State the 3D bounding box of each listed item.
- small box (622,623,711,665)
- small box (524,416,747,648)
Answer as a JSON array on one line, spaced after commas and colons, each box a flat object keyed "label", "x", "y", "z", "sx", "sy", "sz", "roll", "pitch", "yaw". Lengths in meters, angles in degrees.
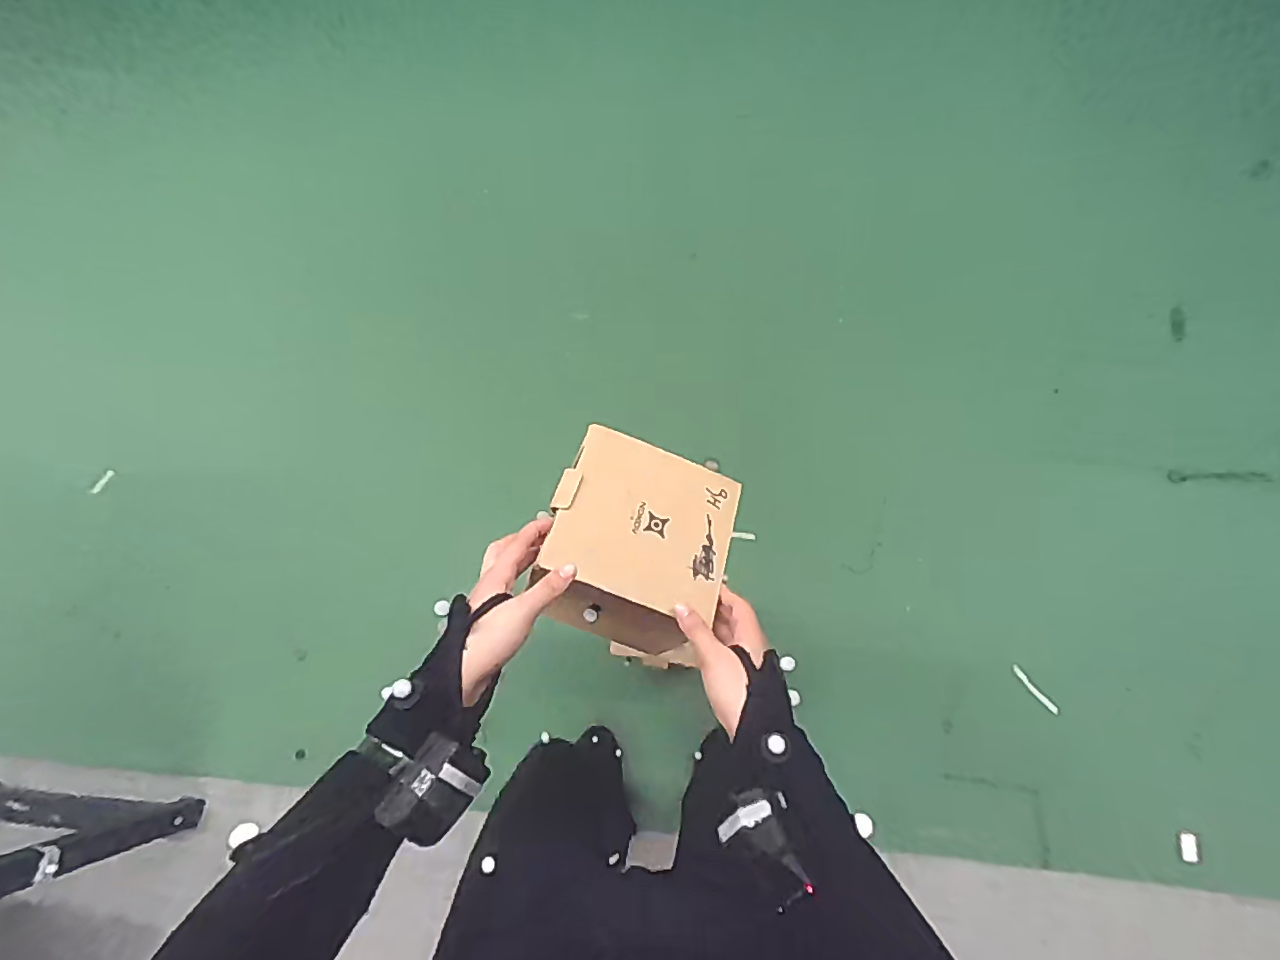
[{"label": "small box", "x": 0.065, "y": 0.307, "z": 1.194, "sx": 0.179, "sy": 0.176, "sz": 0.168, "roll": 7, "pitch": 74, "yaw": 7}, {"label": "small box", "x": -0.012, "y": 0.067, "z": 0.578, "sx": 0.179, "sy": 0.176, "sz": 0.168, "roll": 22, "pitch": 60, "yaw": -6}]
